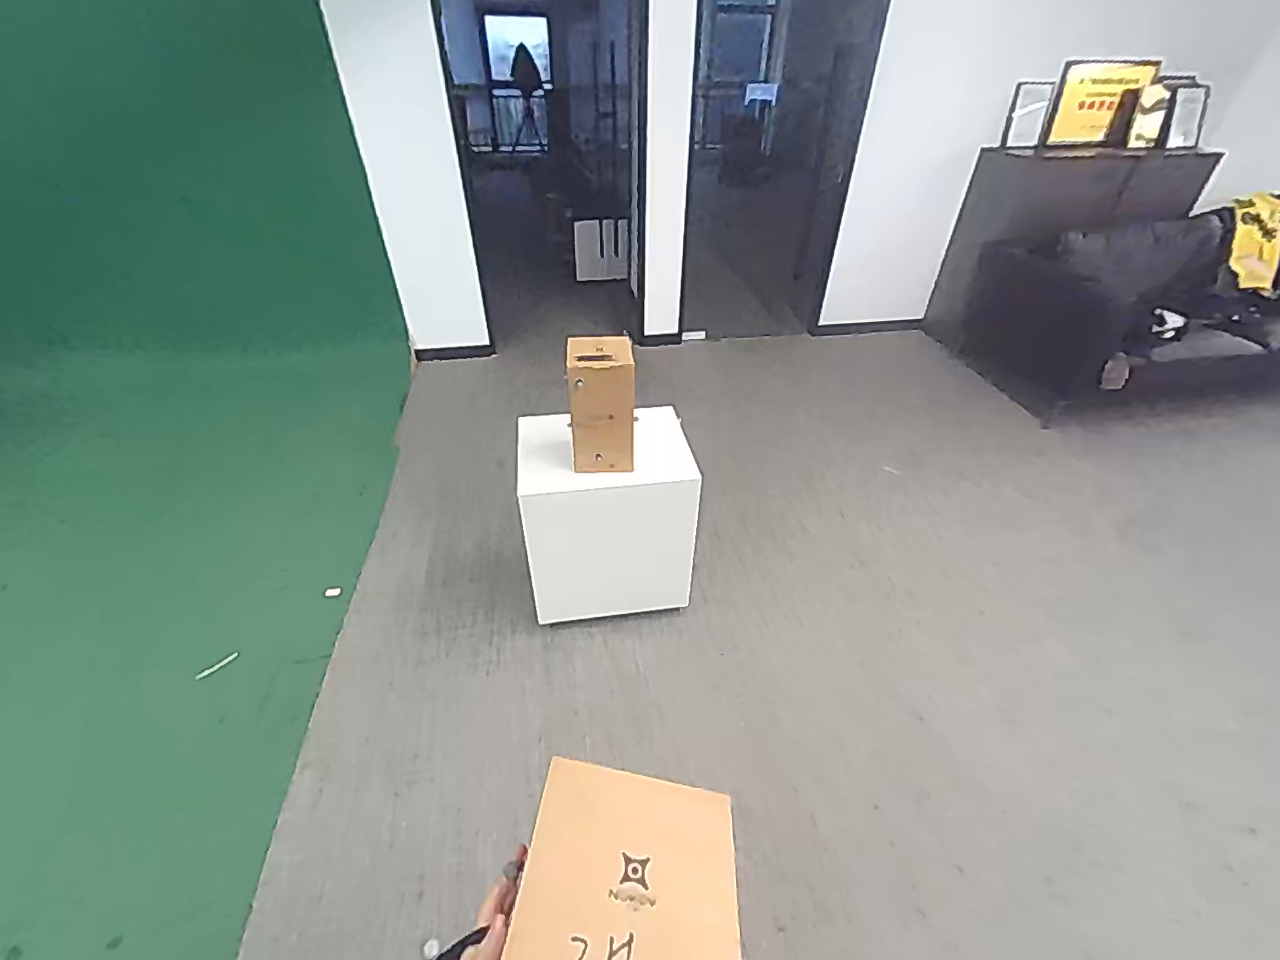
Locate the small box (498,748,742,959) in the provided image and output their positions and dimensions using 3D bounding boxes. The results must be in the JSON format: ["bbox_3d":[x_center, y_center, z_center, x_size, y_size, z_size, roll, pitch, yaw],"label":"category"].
[{"bbox_3d":[-0.023,0.364,0.443,0.168,0.176,0.179,13,28,-1],"label":"small box"}]

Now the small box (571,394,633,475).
[{"bbox_3d":[-0.106,-0.131,1.529,0.168,0.176,0.179,-2,38,-3],"label":"small box"}]
